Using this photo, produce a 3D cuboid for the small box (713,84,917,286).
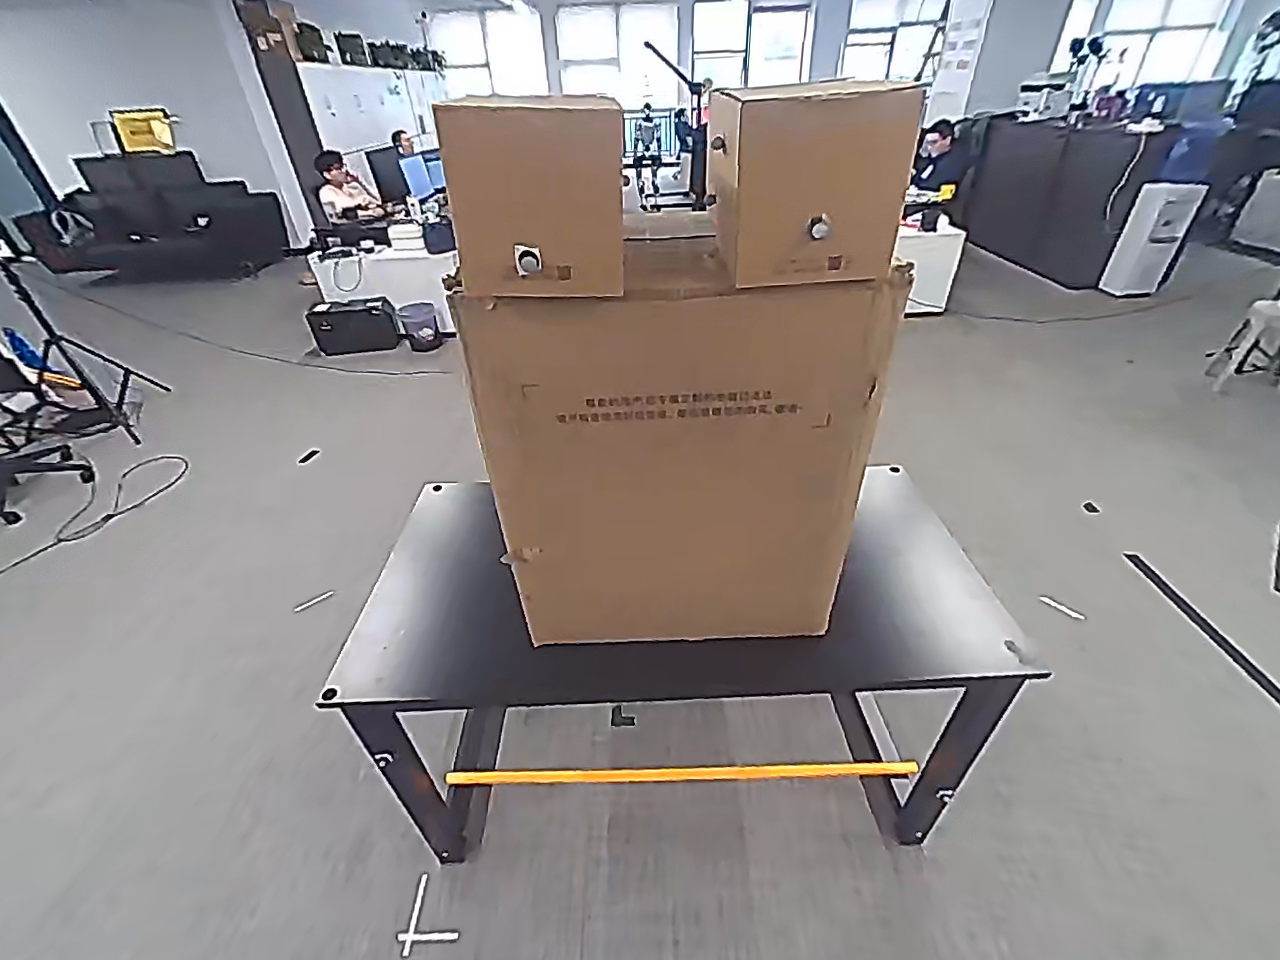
[{"bbox_3d":[0.172,-0.327,0.599,0.168,0.176,0.179,-4,38,3],"label":"small box"}]
